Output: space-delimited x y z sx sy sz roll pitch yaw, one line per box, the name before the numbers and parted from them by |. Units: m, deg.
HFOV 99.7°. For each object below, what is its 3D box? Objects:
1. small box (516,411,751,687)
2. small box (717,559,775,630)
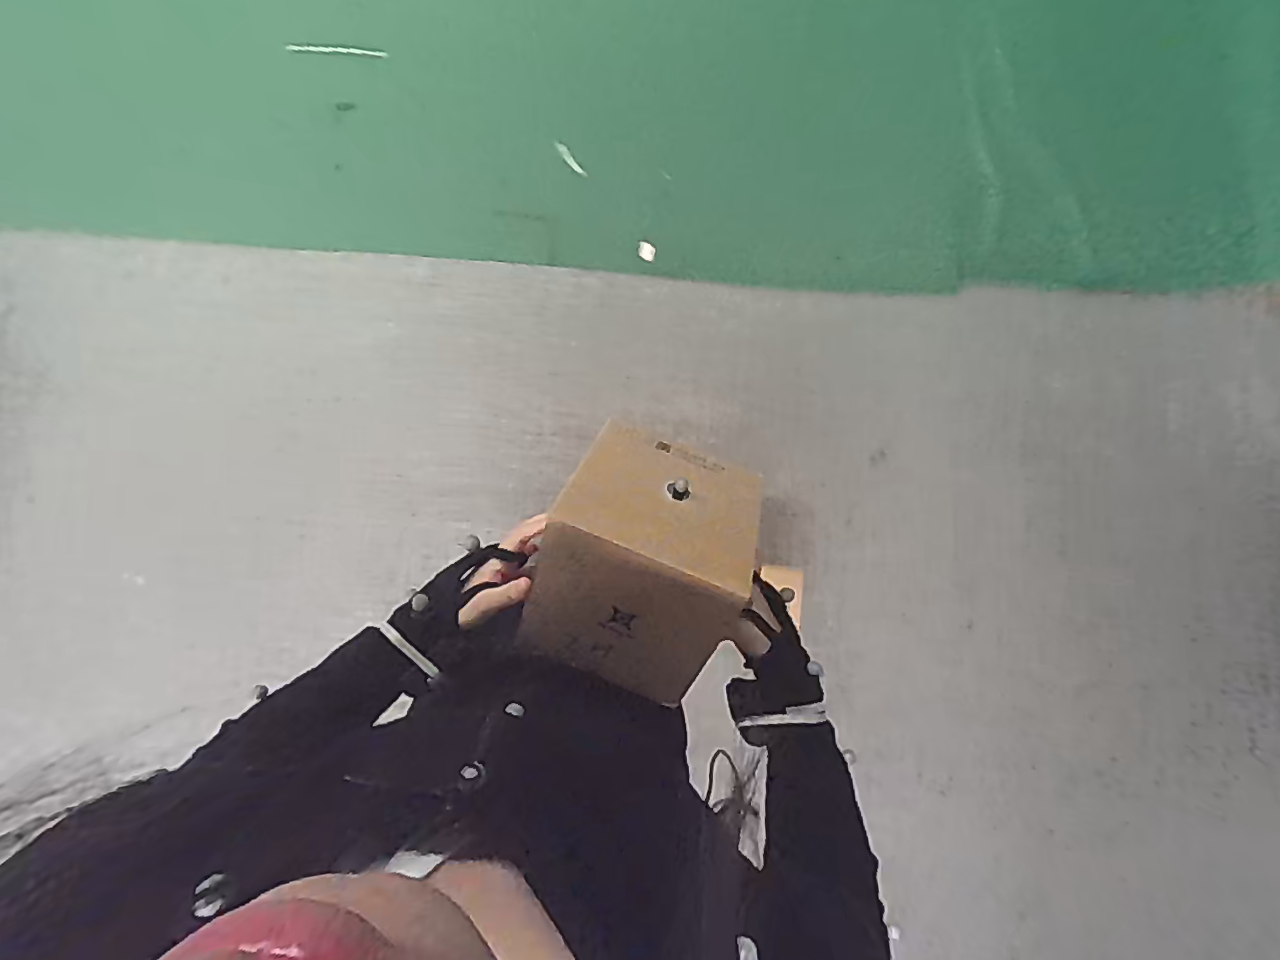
small box | -0.001 0.059 0.527 0.168 0.176 0.179 21 126 1
small box | 0.234 0.279 1.404 0.179 0.176 0.168 11 84 2
